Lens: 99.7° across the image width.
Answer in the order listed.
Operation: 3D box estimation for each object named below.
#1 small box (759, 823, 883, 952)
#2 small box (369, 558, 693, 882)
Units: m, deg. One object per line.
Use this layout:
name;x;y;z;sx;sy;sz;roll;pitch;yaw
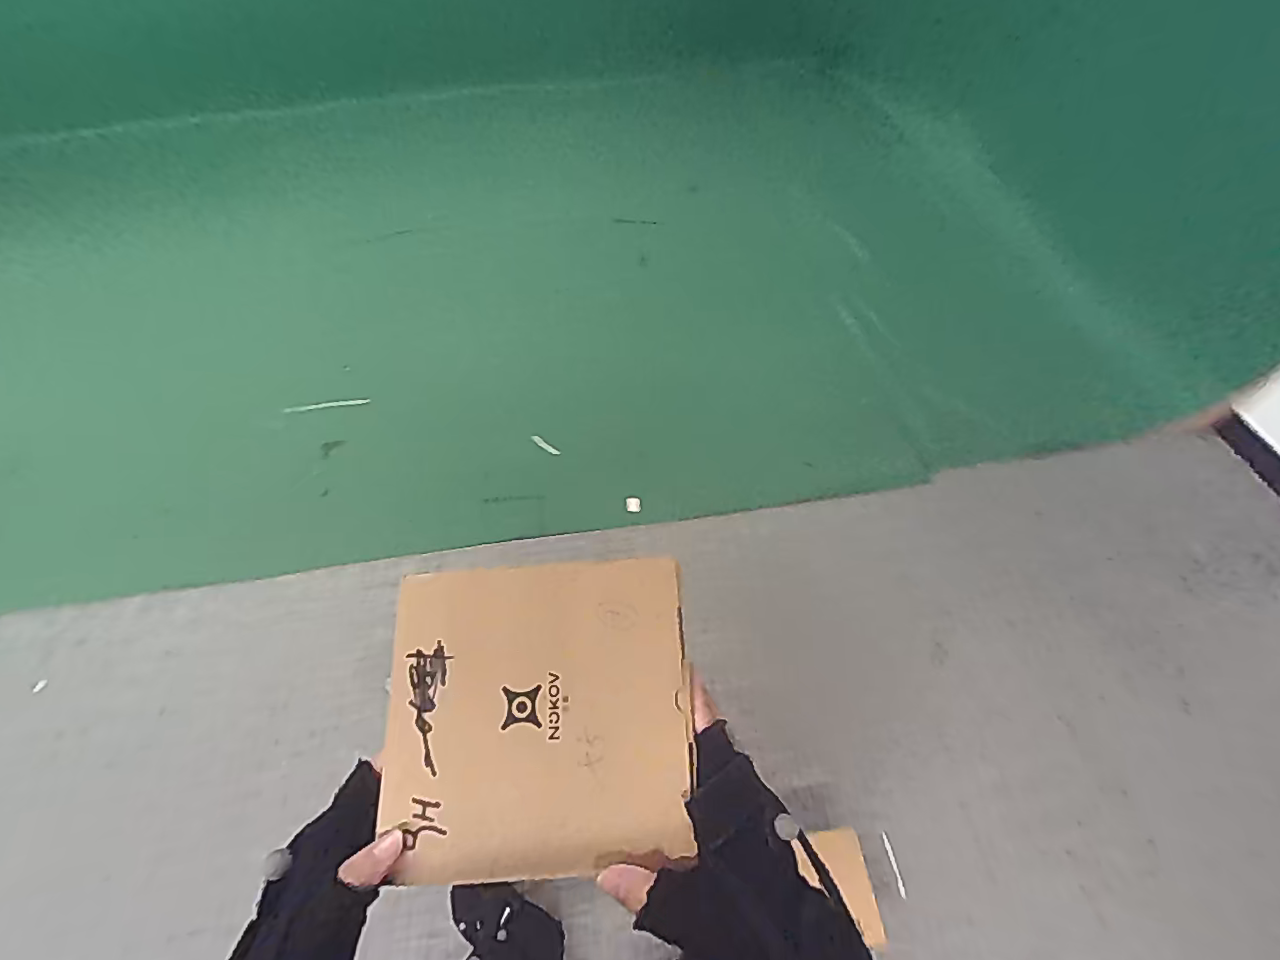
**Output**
small box;0.339;0.783;1.051;0.168;0.176;0.179;-7;54;-2
small box;-0.063;0.160;0.391;0.179;0.176;0.168;-5;68;-1
